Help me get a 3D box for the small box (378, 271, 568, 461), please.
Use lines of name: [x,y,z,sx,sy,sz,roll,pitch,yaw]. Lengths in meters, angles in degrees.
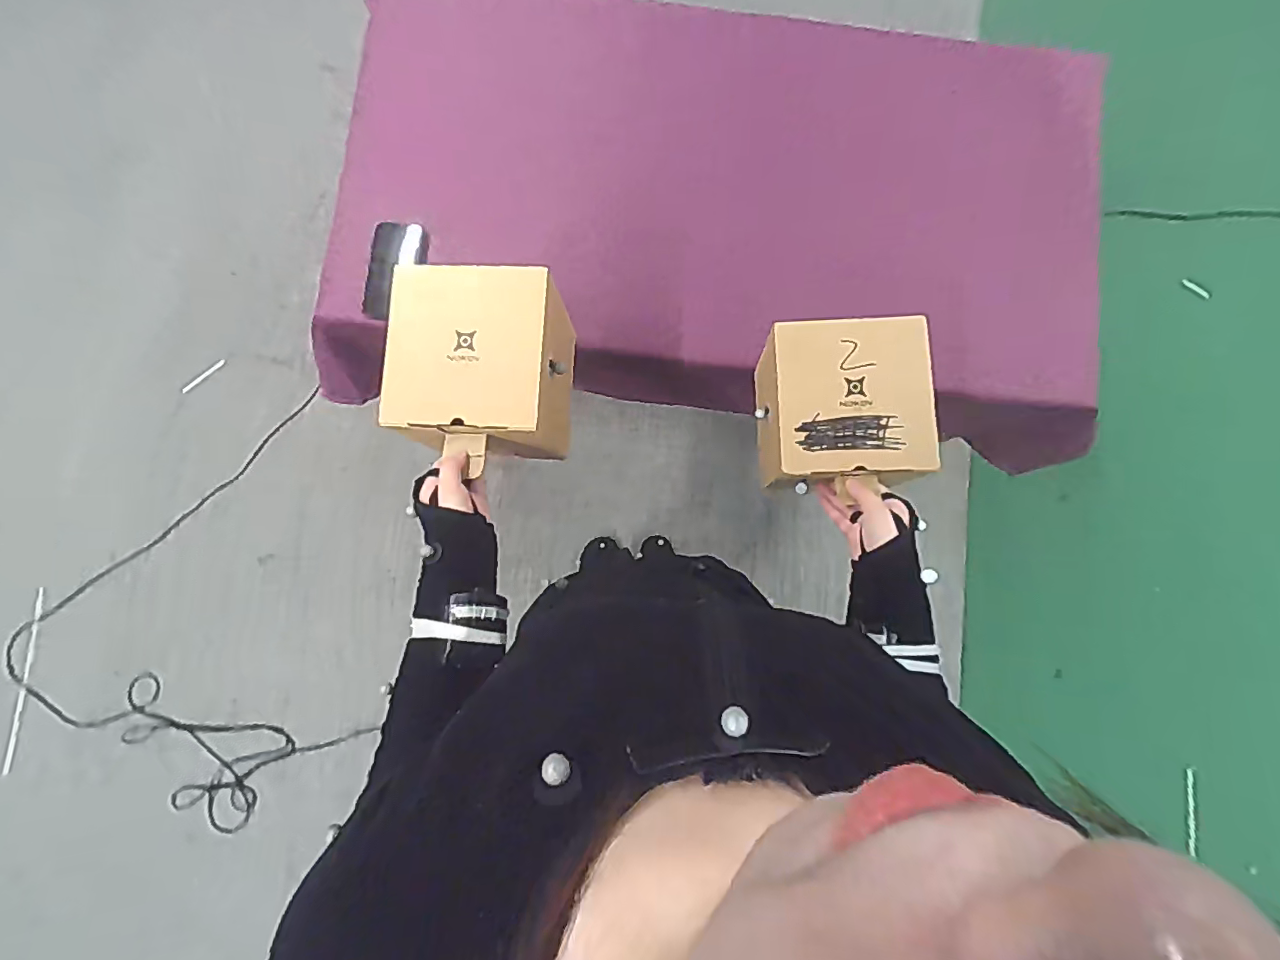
small box: [-0.182,-0.124,0.641,0.168,0.176,0.179,1,83,3]
